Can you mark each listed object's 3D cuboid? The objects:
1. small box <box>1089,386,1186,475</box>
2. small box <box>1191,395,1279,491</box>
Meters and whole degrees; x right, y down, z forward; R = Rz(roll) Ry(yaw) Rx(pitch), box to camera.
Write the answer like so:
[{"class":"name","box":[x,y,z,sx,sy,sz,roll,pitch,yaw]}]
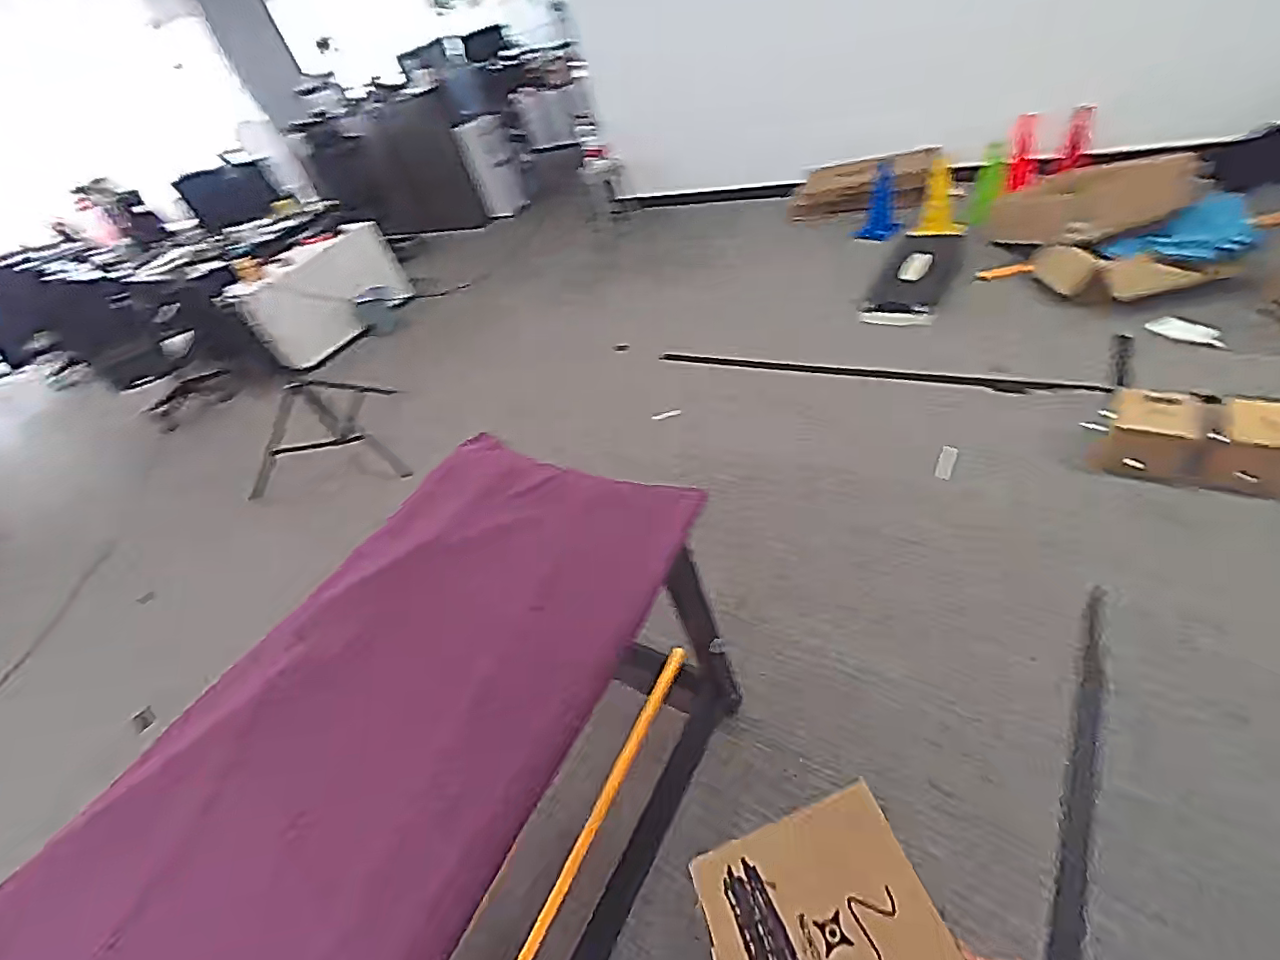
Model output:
[{"class":"small box","box":[1.419,-0.143,1.548,0.168,0.176,0.179,16,54,33]},{"class":"small box","box":[1.611,-0.099,1.436,0.168,0.176,0.179,14,53,31]}]
